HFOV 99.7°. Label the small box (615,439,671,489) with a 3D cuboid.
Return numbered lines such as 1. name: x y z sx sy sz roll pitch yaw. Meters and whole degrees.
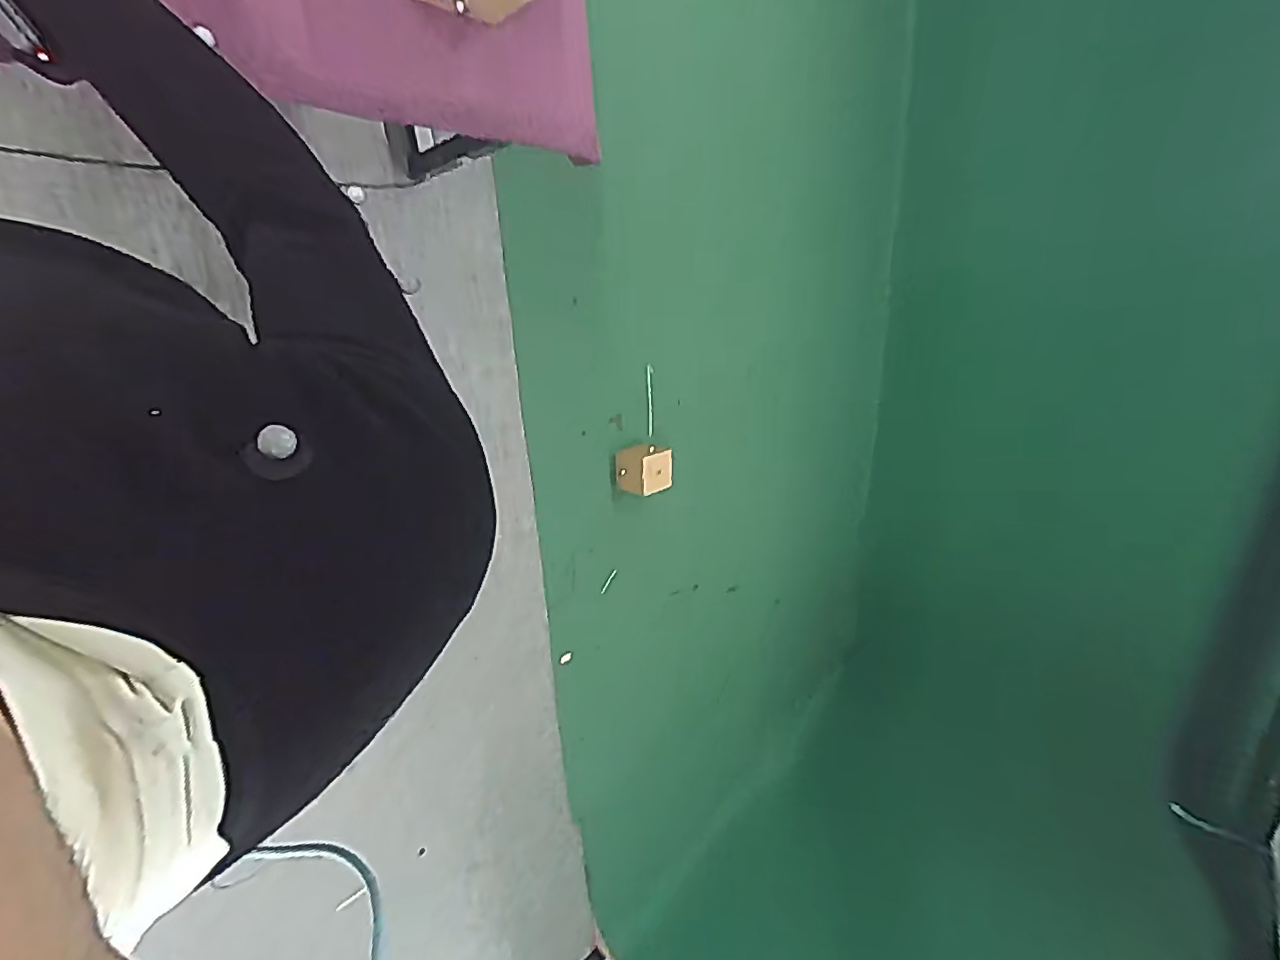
1. small box: 0.014 -0.075 2.320 0.179 0.176 0.168 -19 114 -42
